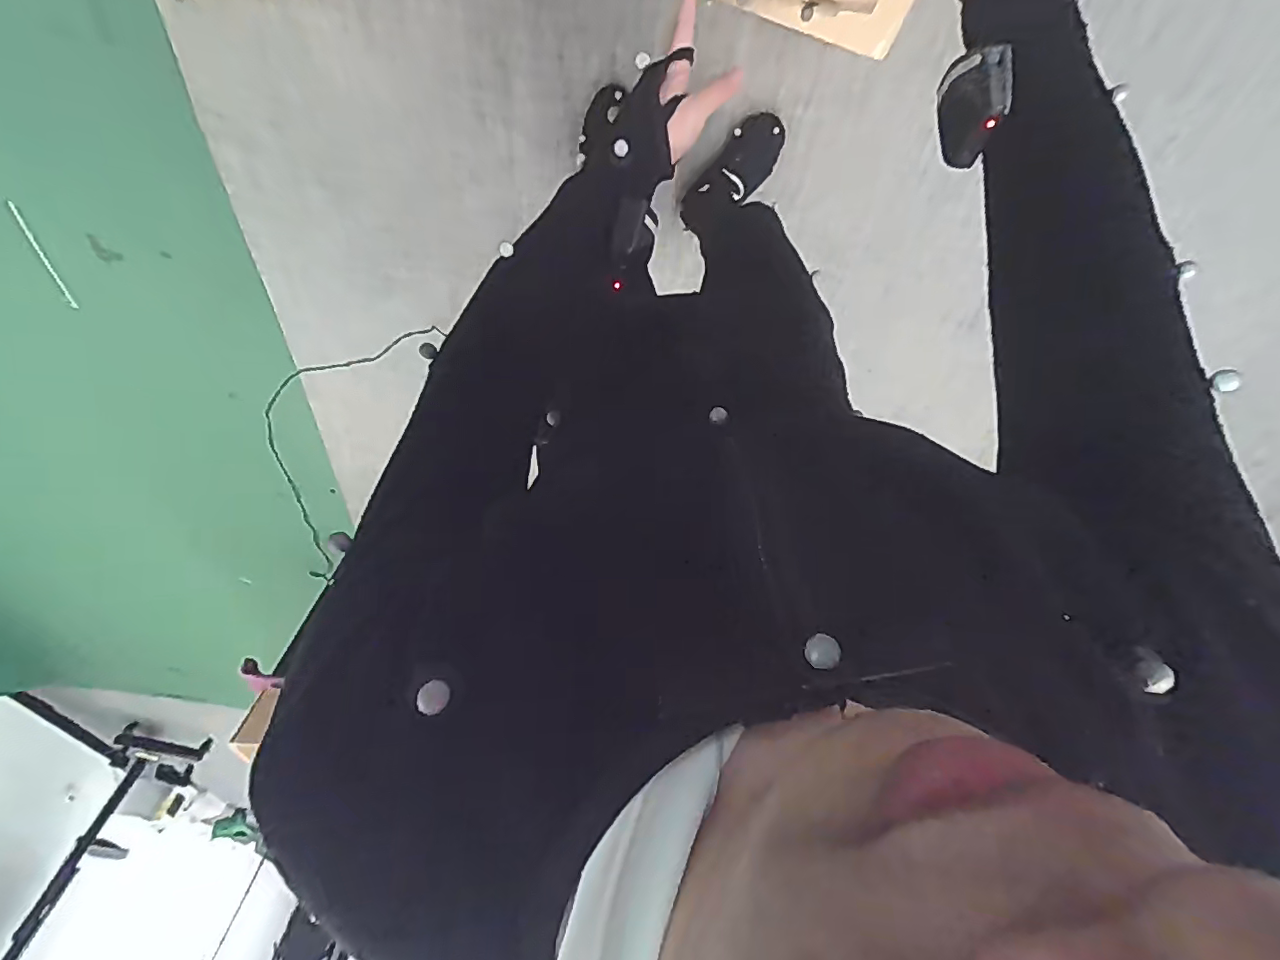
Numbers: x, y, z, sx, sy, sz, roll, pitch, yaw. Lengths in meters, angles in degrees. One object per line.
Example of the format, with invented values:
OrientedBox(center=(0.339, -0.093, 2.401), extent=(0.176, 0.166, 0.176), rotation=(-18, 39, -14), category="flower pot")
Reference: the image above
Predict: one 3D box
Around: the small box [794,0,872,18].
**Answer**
OrientedBox(center=(0.148, -0.545, 0.477), extent=(0.168, 0.176, 0.179), rotation=(11, 132, -5), category="small box")

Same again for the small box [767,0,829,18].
OrientedBox(center=(0.162, -0.651, 0.600), extent=(0.168, 0.176, 0.179), rotation=(13, 132, -5), category="small box")
